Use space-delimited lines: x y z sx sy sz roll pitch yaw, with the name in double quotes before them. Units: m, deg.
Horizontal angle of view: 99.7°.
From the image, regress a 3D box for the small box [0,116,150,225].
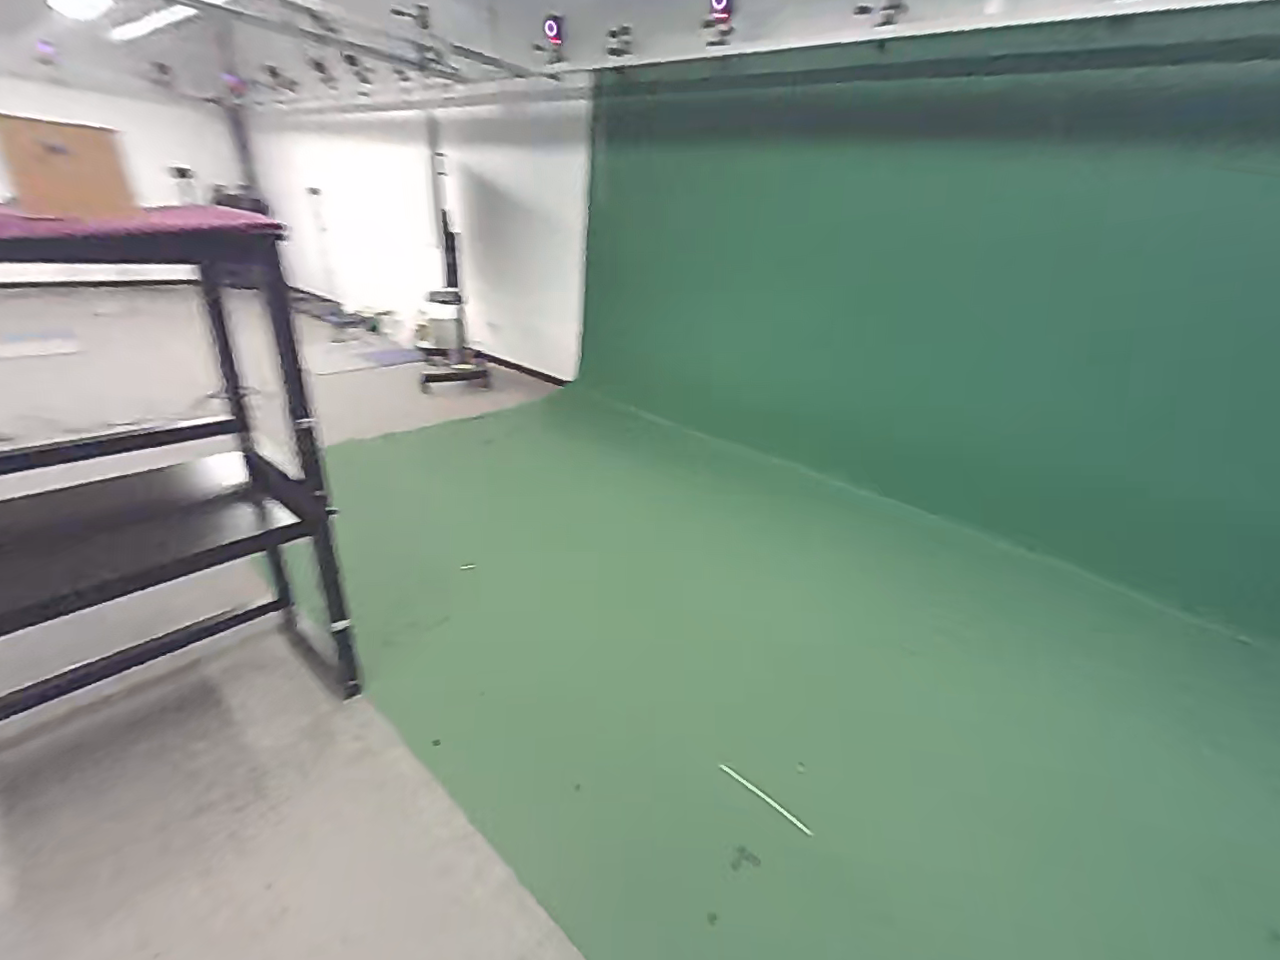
"small box" -1.129 -0.604 1.076 0.168 0.176 0.179 23 31 36
